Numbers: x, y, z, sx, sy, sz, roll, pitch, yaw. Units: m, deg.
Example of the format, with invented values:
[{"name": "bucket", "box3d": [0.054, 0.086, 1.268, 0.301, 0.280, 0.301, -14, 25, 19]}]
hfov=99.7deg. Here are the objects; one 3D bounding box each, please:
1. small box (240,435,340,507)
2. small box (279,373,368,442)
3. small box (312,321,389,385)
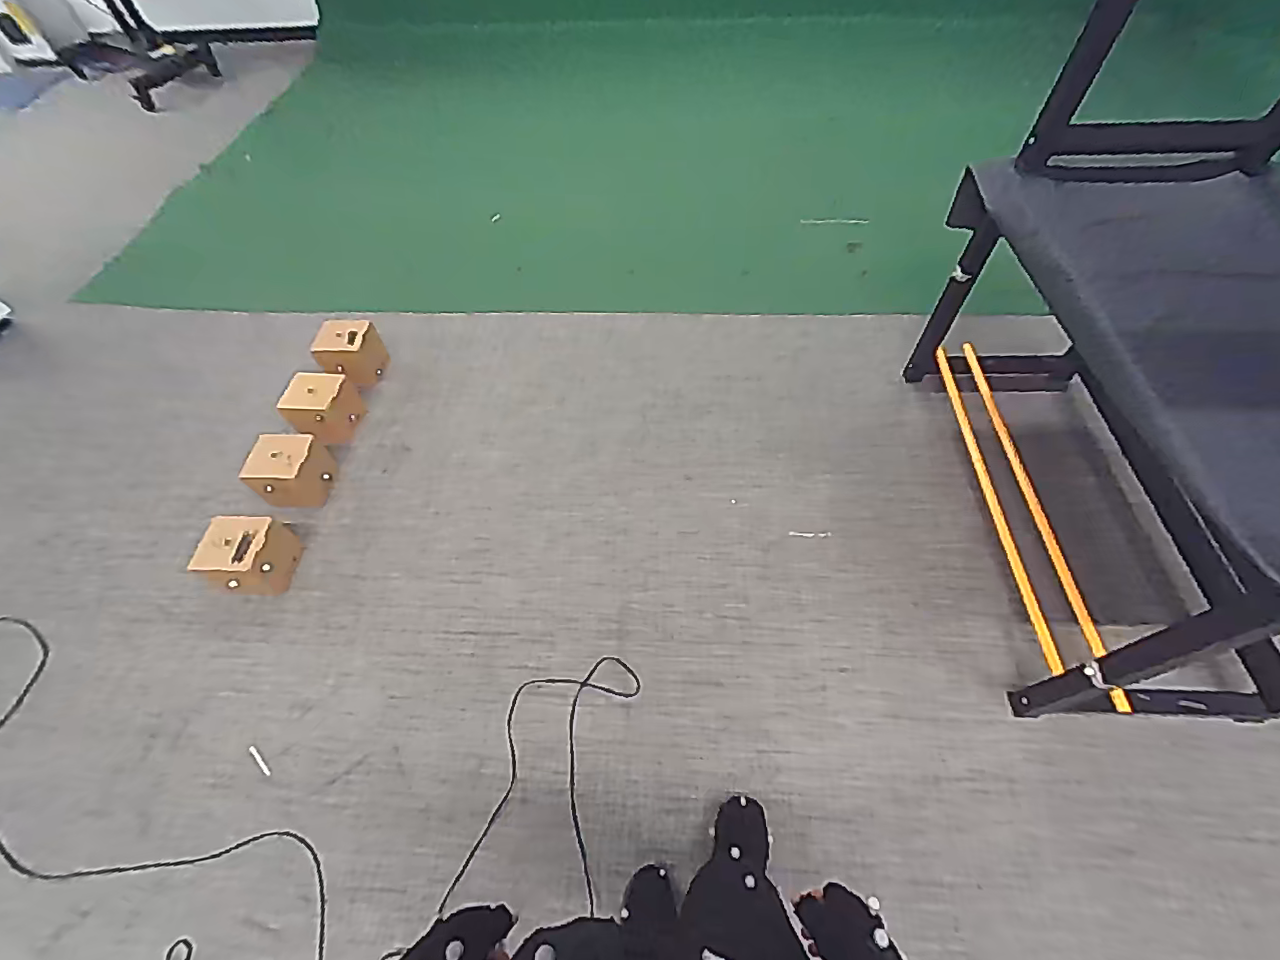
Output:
[{"name": "small box", "box3d": [-1.091, -0.027, 1.703, 0.179, 0.176, 0.168, 1, 57, 2]}, {"name": "small box", "box3d": [-1.079, -0.247, 1.856, 0.179, 0.176, 0.168, 3, 56, 3]}, {"name": "small box", "box3d": [-1.065, -0.469, 2.007, 0.179, 0.176, 0.168, 0, 55, 2]}]
